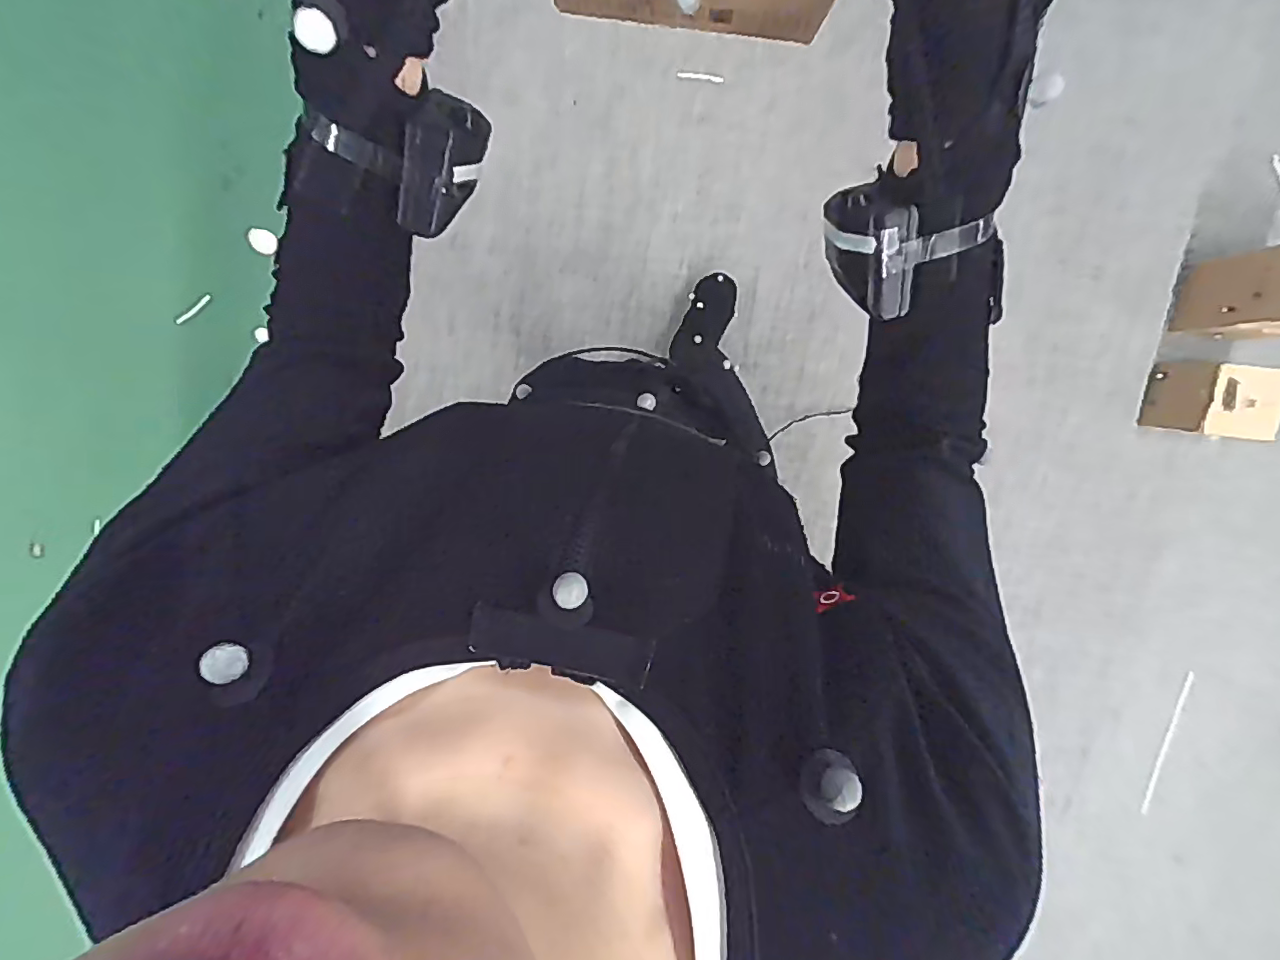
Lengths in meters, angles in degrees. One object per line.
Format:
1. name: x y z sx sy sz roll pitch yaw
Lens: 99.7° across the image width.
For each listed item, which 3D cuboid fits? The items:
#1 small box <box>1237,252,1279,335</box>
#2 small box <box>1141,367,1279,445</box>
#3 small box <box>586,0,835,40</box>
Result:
1. small box: 1.435 -0.392 1.123 0.179 0.176 0.168 7 102 -2
2. small box: 1.406 -0.186 1.331 0.179 0.176 0.168 6 102 -1
3. small box: 0.043 -0.353 0.246 0.168 0.176 0.179 8 106 0
